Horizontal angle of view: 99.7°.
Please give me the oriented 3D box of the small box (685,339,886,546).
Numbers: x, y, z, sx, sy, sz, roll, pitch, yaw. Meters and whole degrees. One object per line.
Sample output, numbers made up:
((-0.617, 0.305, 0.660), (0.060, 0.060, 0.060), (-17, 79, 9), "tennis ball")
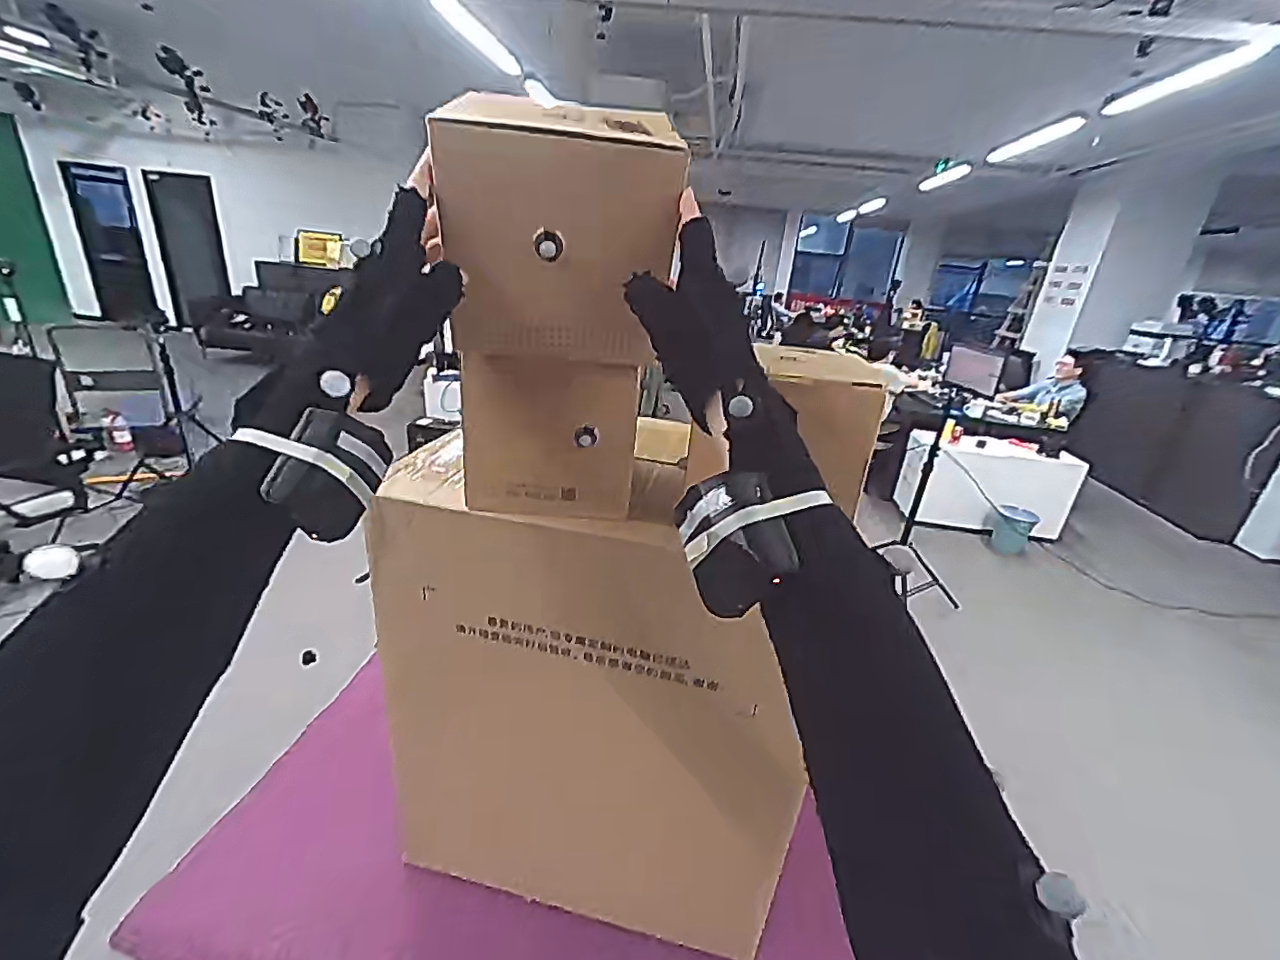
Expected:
((0.144, -0.047, 0.582), (0.168, 0.176, 0.179), (9, 24, 9), "small box")

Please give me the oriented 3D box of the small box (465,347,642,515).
((-0.086, -0.072, 0.600), (0.168, 0.176, 0.179), (5, 23, -4), "small box")

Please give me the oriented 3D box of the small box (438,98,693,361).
((-0.063, -0.218, 0.478), (0.179, 0.176, 0.168), (2, 38, -7), "small box")
